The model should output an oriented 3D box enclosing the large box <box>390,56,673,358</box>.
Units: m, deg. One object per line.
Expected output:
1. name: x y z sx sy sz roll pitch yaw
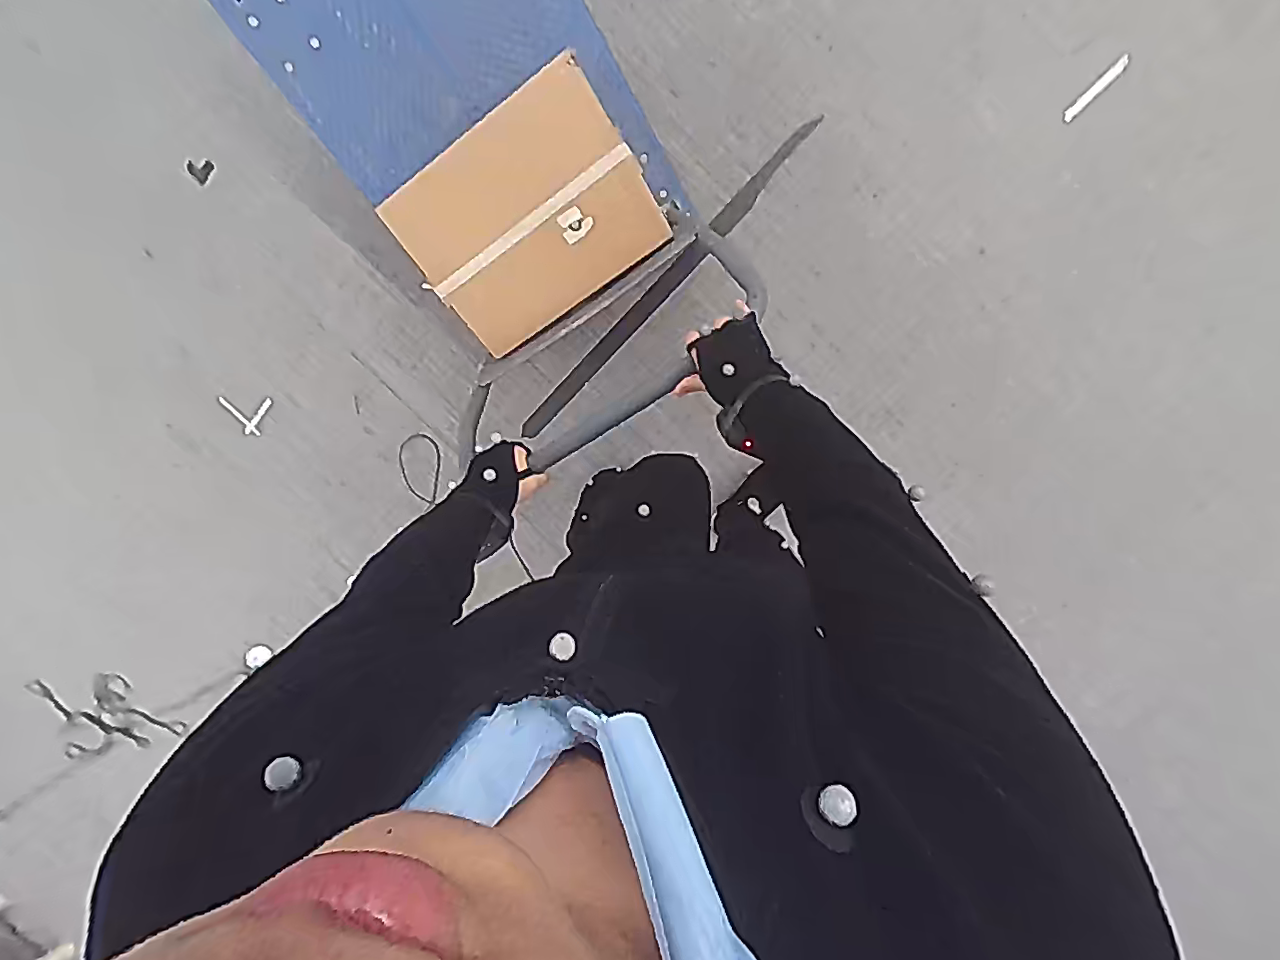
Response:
1. large box: -0.197 -0.514 1.073 0.408 0.320 0.320 -33 117 12
